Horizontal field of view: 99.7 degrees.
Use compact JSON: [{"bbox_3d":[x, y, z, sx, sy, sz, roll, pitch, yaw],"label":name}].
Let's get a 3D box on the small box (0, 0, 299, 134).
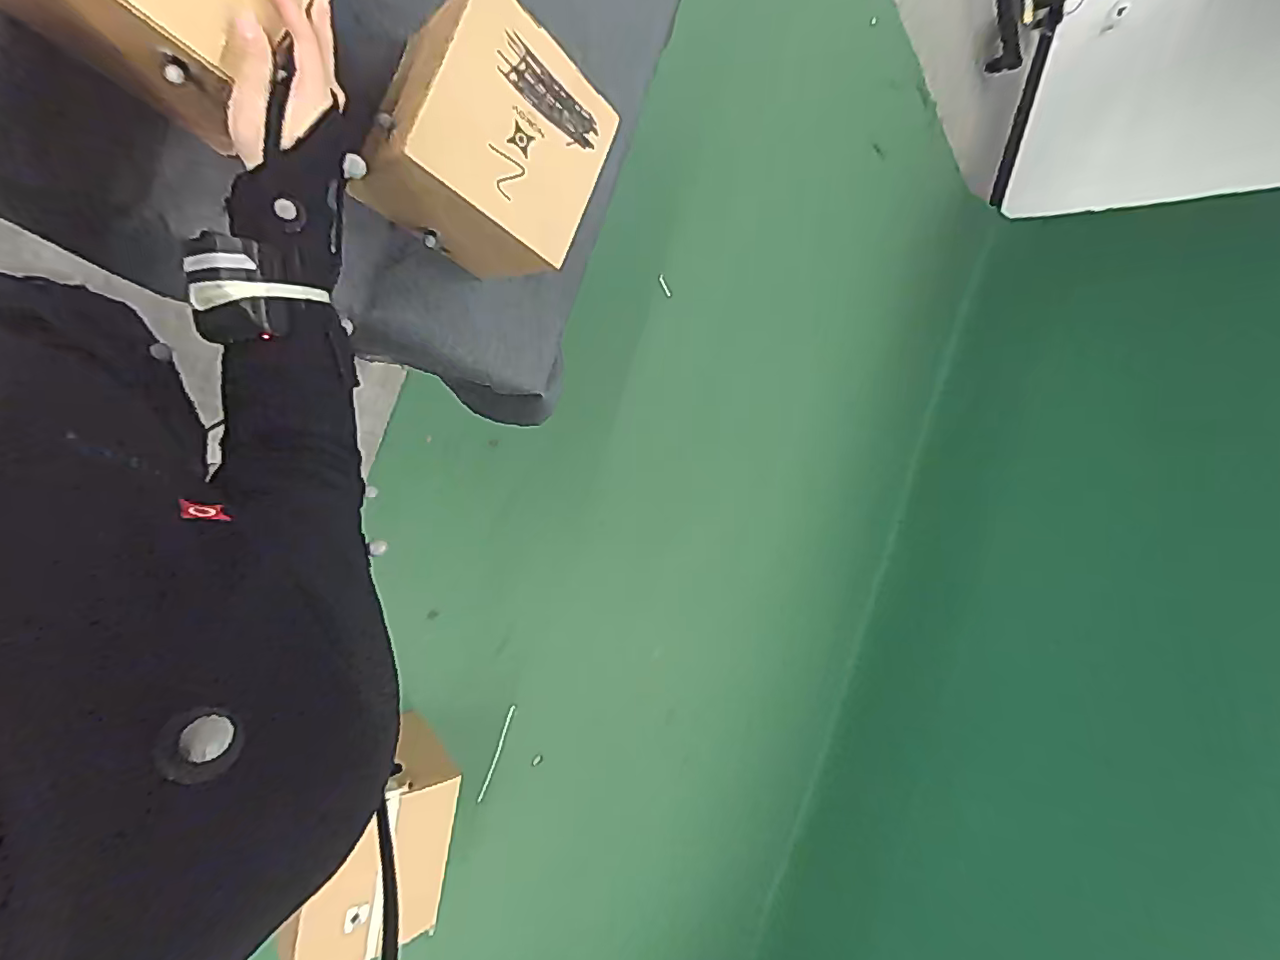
[{"bbox_3d":[-0.338,-0.375,0.360,0.179,0.176,0.168,29,81,-45],"label":"small box"}]
